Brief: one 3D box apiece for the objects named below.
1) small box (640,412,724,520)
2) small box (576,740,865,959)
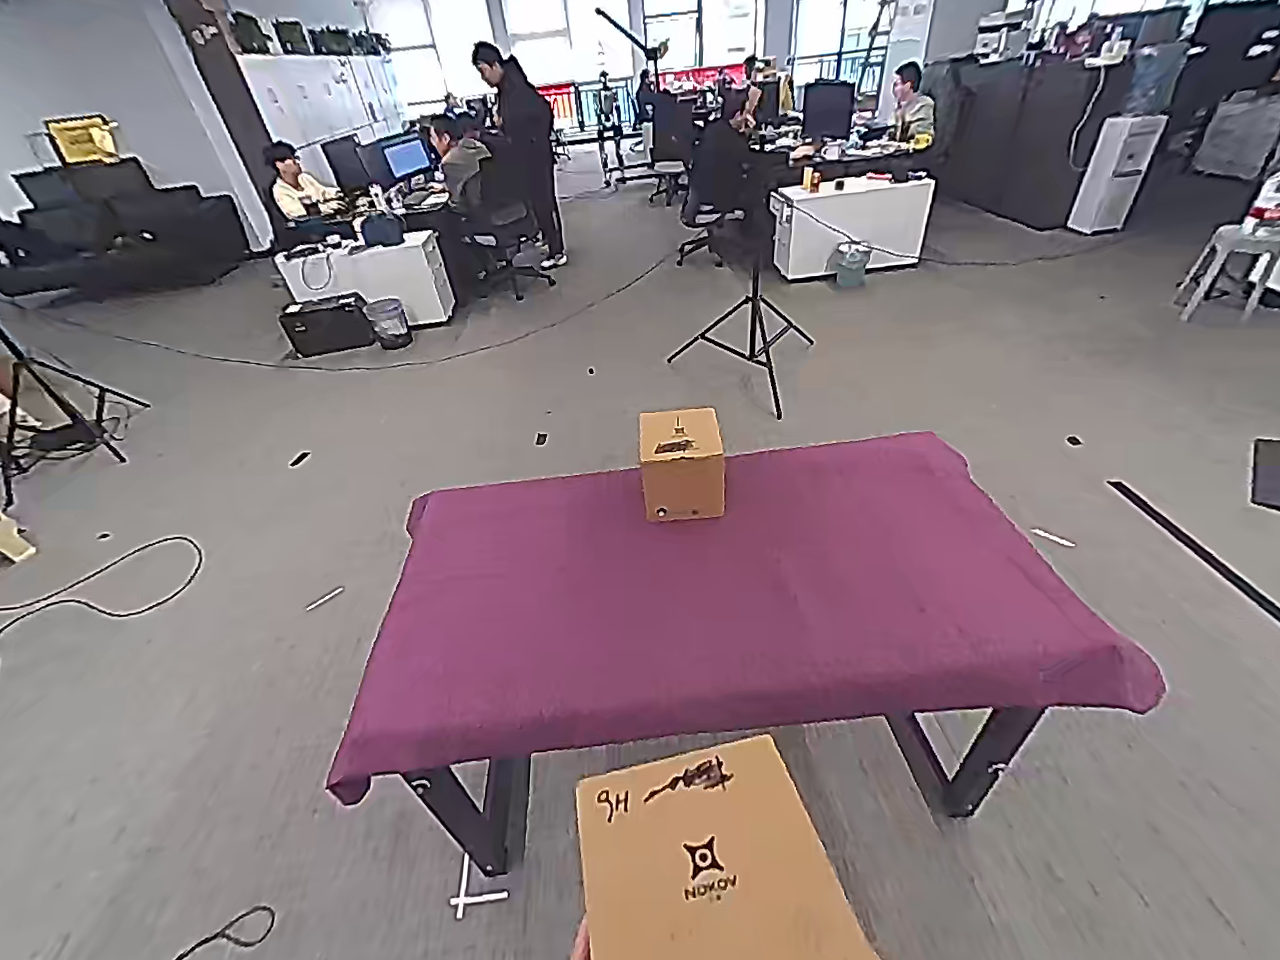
[{"bbox_3d":[0.090,-0.026,1.167,0.168,0.176,0.179,-4,39,3],"label":"small box"},{"bbox_3d":[0.052,0.338,0.404,0.168,0.176,0.179,-10,30,-7],"label":"small box"}]
